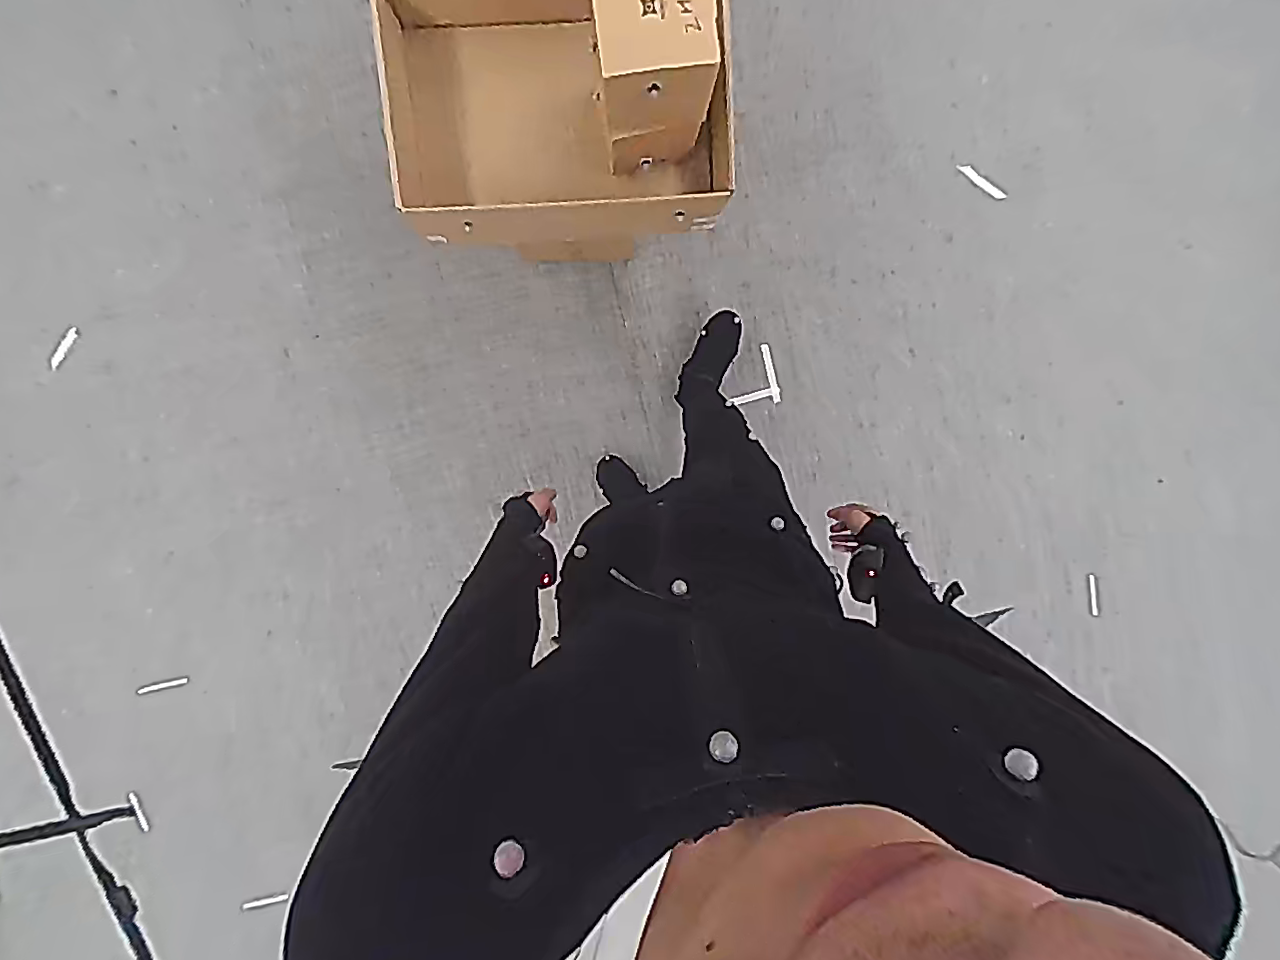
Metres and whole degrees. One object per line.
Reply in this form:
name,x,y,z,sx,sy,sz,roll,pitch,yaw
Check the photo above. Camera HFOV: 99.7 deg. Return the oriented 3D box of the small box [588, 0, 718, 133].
small box,0.016,-0.670,0.839,0.179,0.176,0.168,-7,98,0
